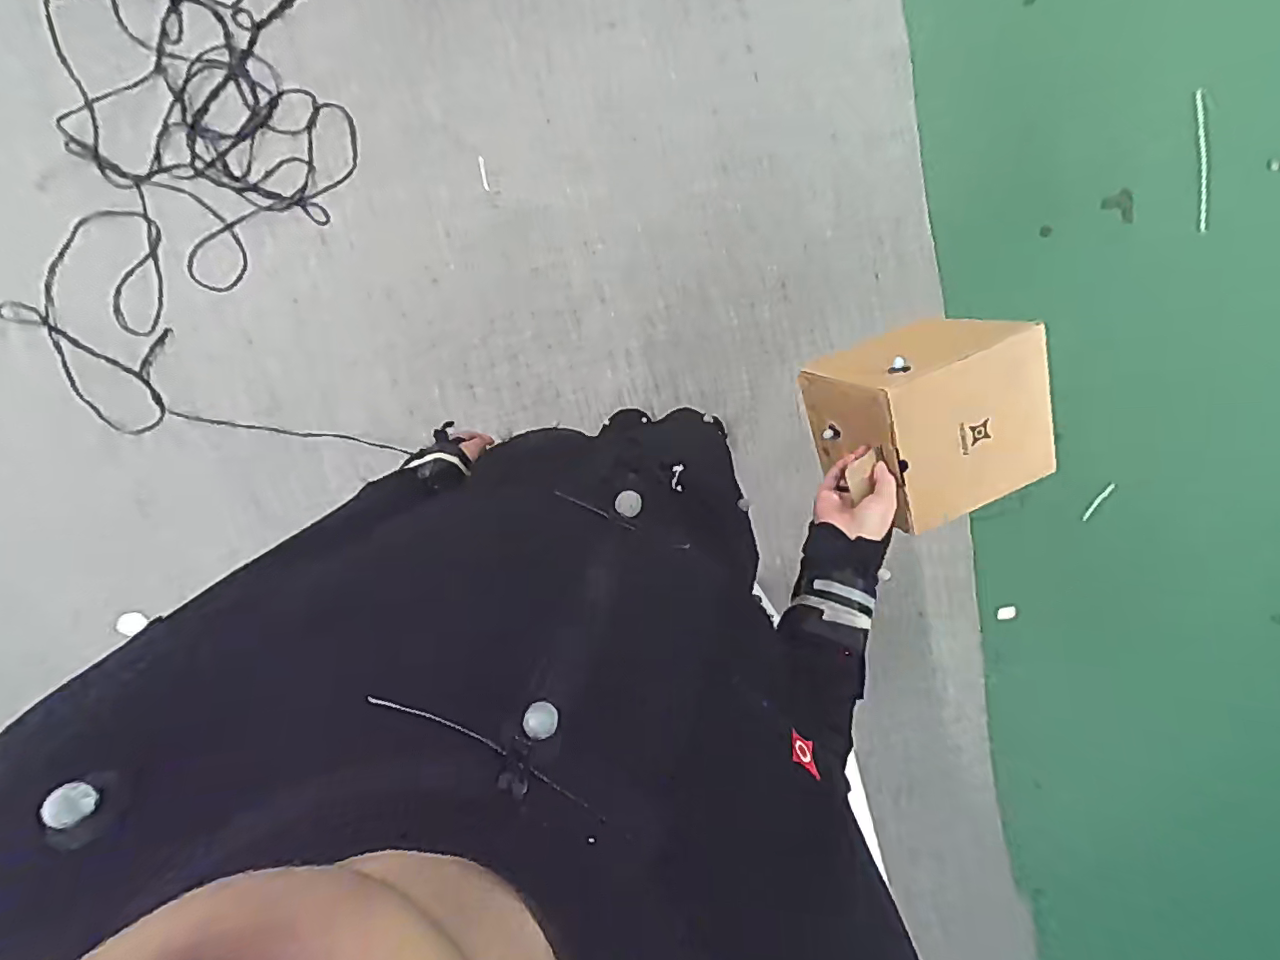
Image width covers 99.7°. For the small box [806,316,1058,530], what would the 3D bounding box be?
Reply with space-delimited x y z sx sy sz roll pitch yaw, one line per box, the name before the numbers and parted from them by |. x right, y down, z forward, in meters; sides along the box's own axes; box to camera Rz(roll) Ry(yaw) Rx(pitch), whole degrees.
small box | 0.317 -0.076 0.607 0.179 0.176 0.168 -24 112 -4
